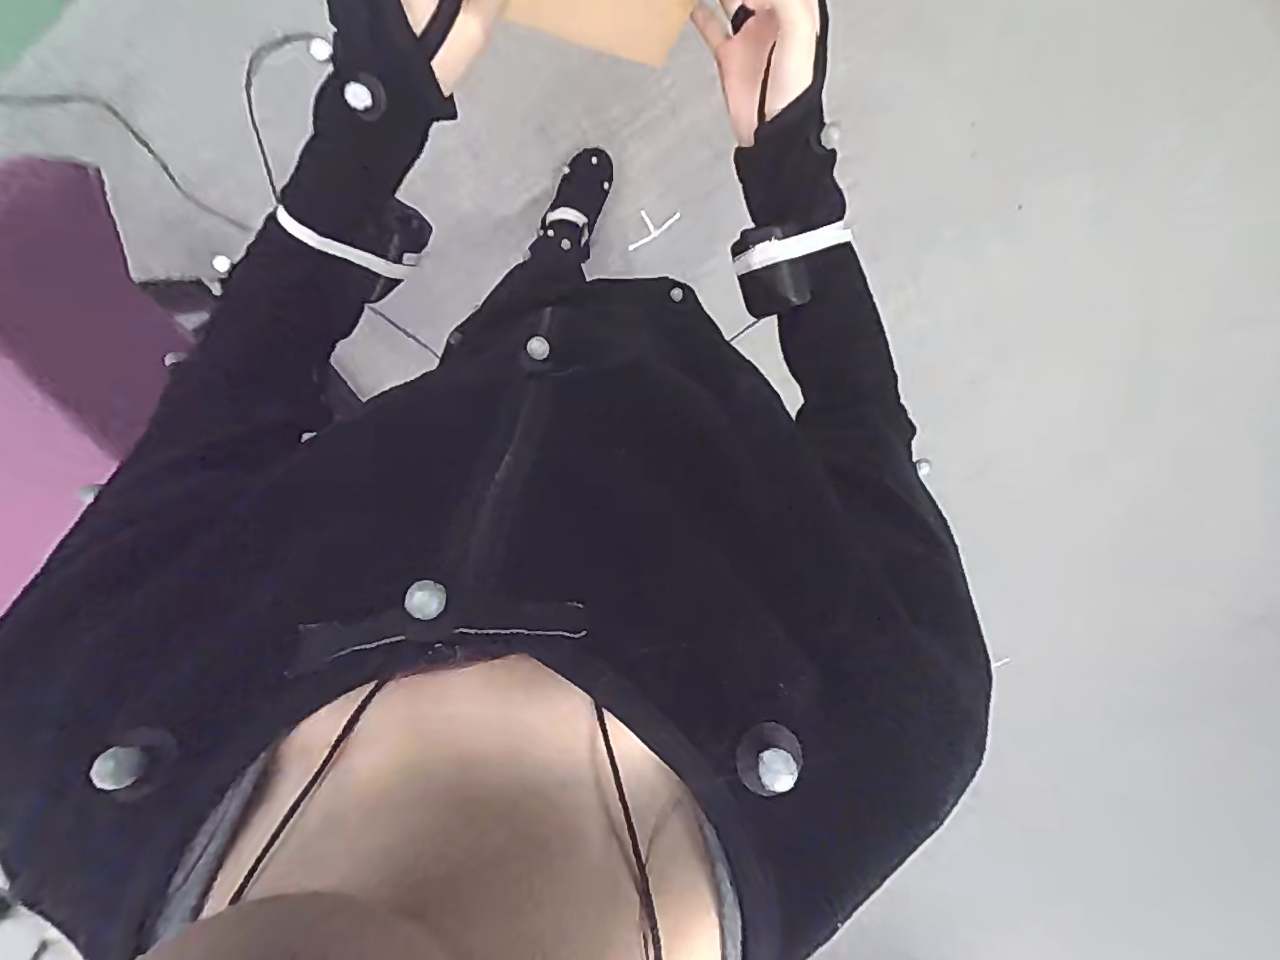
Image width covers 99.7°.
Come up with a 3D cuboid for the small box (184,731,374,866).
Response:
[{"bbox_3d":[-0.581,0.559,0.902,0.179,0.176,0.168,-35,108,14],"label":"small box"}]

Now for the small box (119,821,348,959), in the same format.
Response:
[{"bbox_3d":[-0.556,0.612,0.747,0.168,0.176,0.179,-36,109,13],"label":"small box"}]

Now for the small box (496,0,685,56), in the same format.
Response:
[{"bbox_3d":[-0.044,-0.410,0.313,0.176,0.168,0.179,60,139,12],"label":"small box"}]
